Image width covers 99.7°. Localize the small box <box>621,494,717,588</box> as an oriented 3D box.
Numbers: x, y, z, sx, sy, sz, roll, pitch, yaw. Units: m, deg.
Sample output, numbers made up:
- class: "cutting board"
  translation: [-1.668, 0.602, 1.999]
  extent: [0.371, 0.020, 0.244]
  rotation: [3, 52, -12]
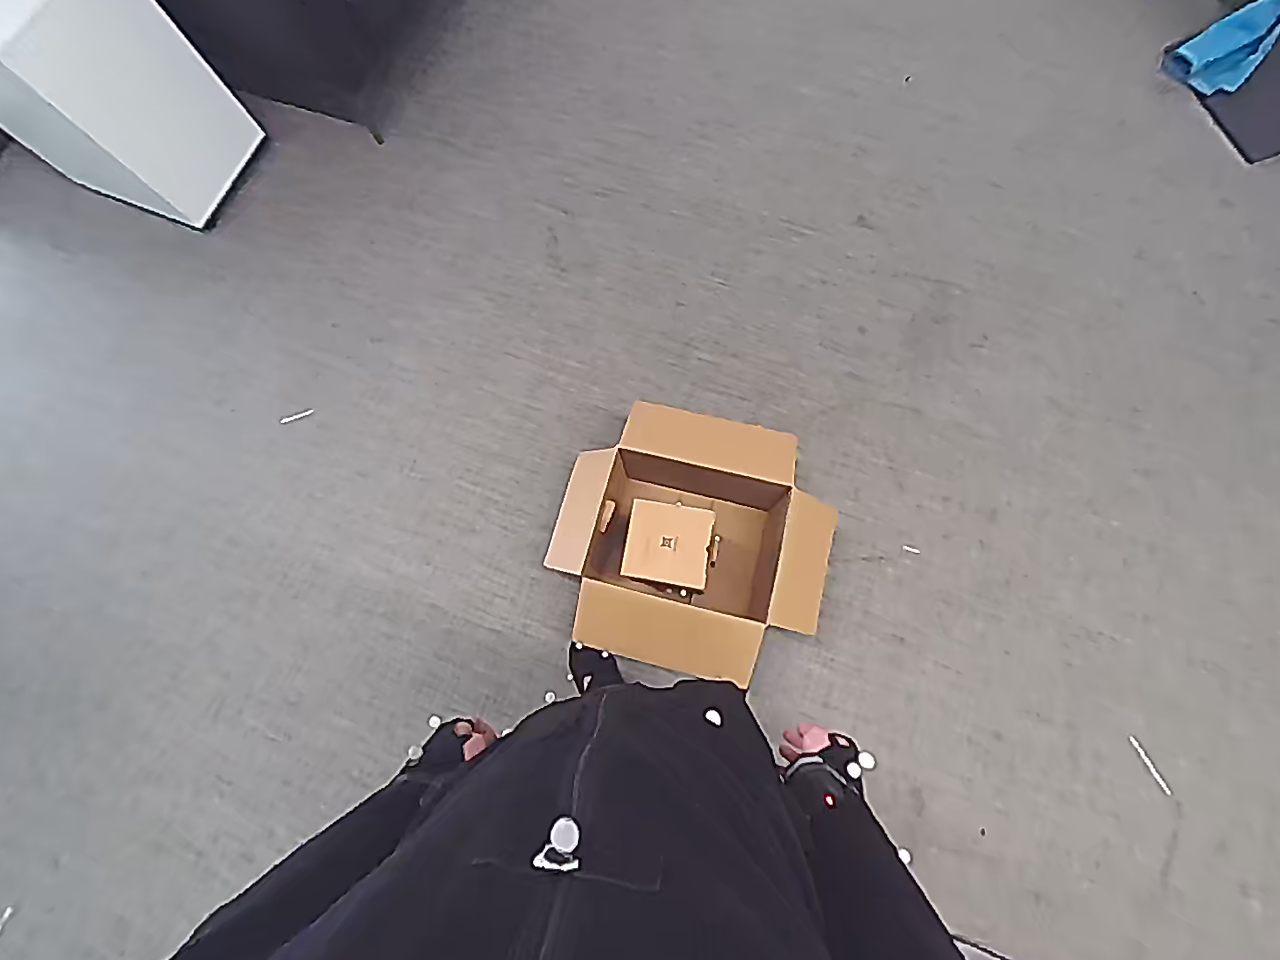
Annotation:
- class: "small box"
  translation: [0.071, 0.141, 1.193]
  extent: [0.179, 0.176, 0.168]
  rotation: [9, 75, 11]
